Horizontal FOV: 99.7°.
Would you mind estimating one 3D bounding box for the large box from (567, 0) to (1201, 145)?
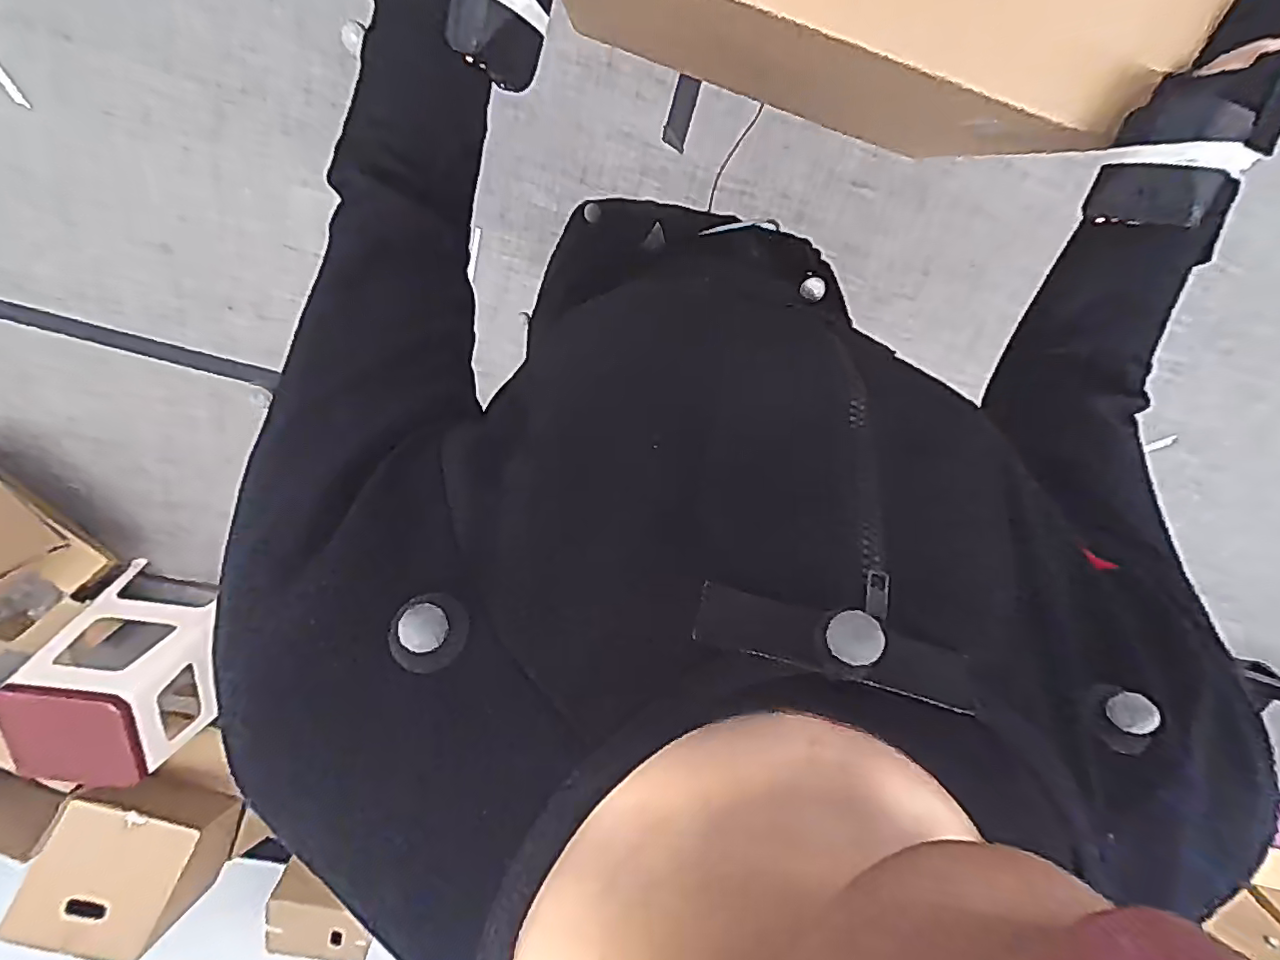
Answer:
[{"bbox_3d":[0.164,-0.475,0.387,0.408,0.320,0.320,13,120,-9],"label":"large box"}]
